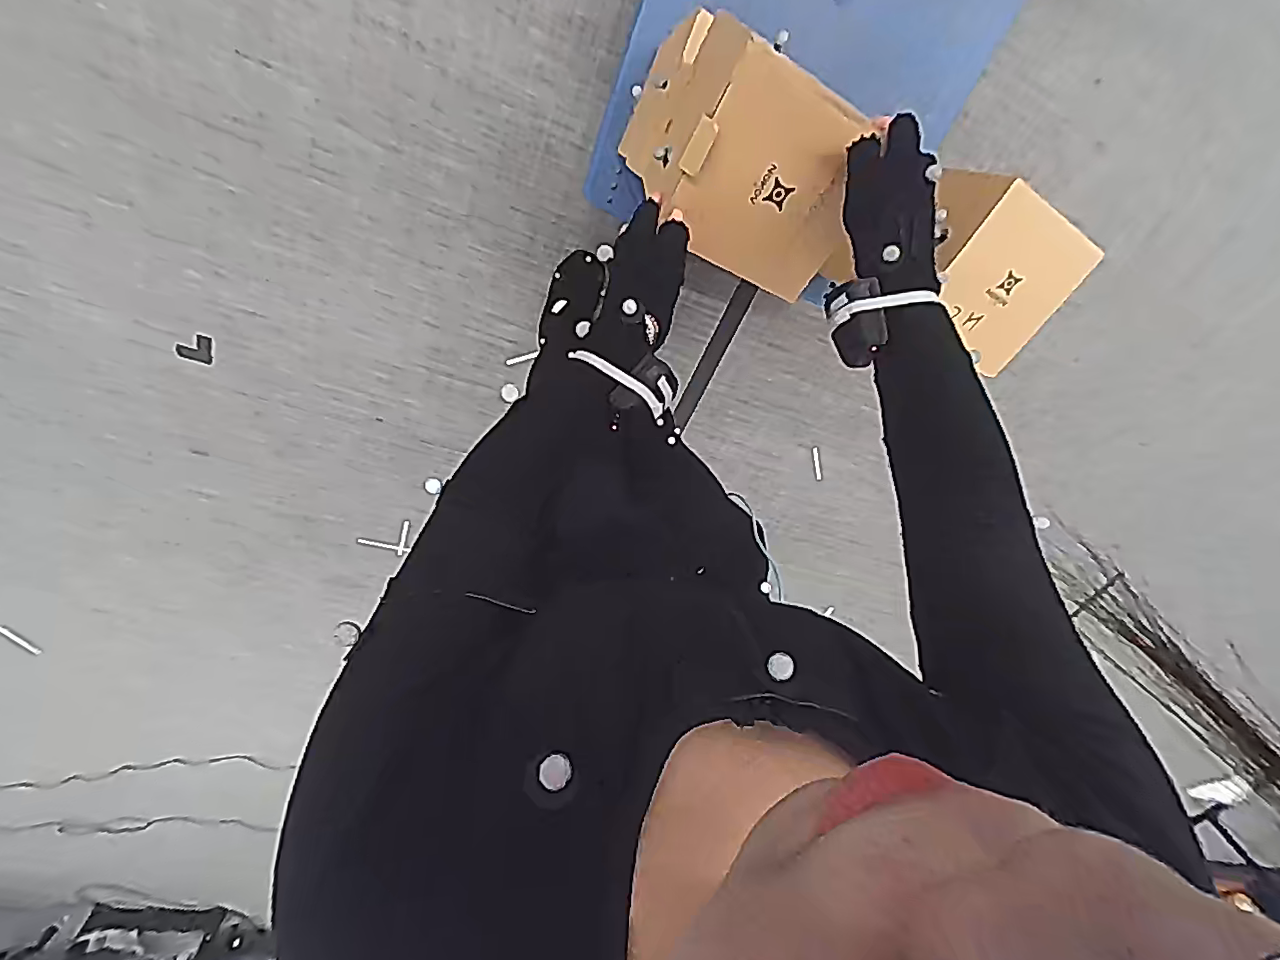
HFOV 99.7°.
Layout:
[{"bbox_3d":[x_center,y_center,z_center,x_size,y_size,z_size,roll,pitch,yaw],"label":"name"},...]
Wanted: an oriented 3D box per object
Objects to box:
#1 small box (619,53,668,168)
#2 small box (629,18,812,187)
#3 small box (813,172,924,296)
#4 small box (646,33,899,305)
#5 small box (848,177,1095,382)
[{"bbox_3d":[0.079,-0.548,0.858,0.179,0.176,0.168,20,119,-19],"label":"small box"},{"bbox_3d":[0.093,-0.459,0.721,0.168,0.176,0.179,18,119,-18],"label":"small box"},{"bbox_3d":[0.386,-0.352,0.835,0.179,0.176,0.168,20,119,-21],"label":"small box"},{"bbox_3d":[0.117,-0.321,0.560,0.179,0.176,0.168,17,133,-22],"label":"small box"},{"bbox_3d":[0.406,-0.263,0.697,0.168,0.176,0.179,22,118,-21],"label":"small box"}]
